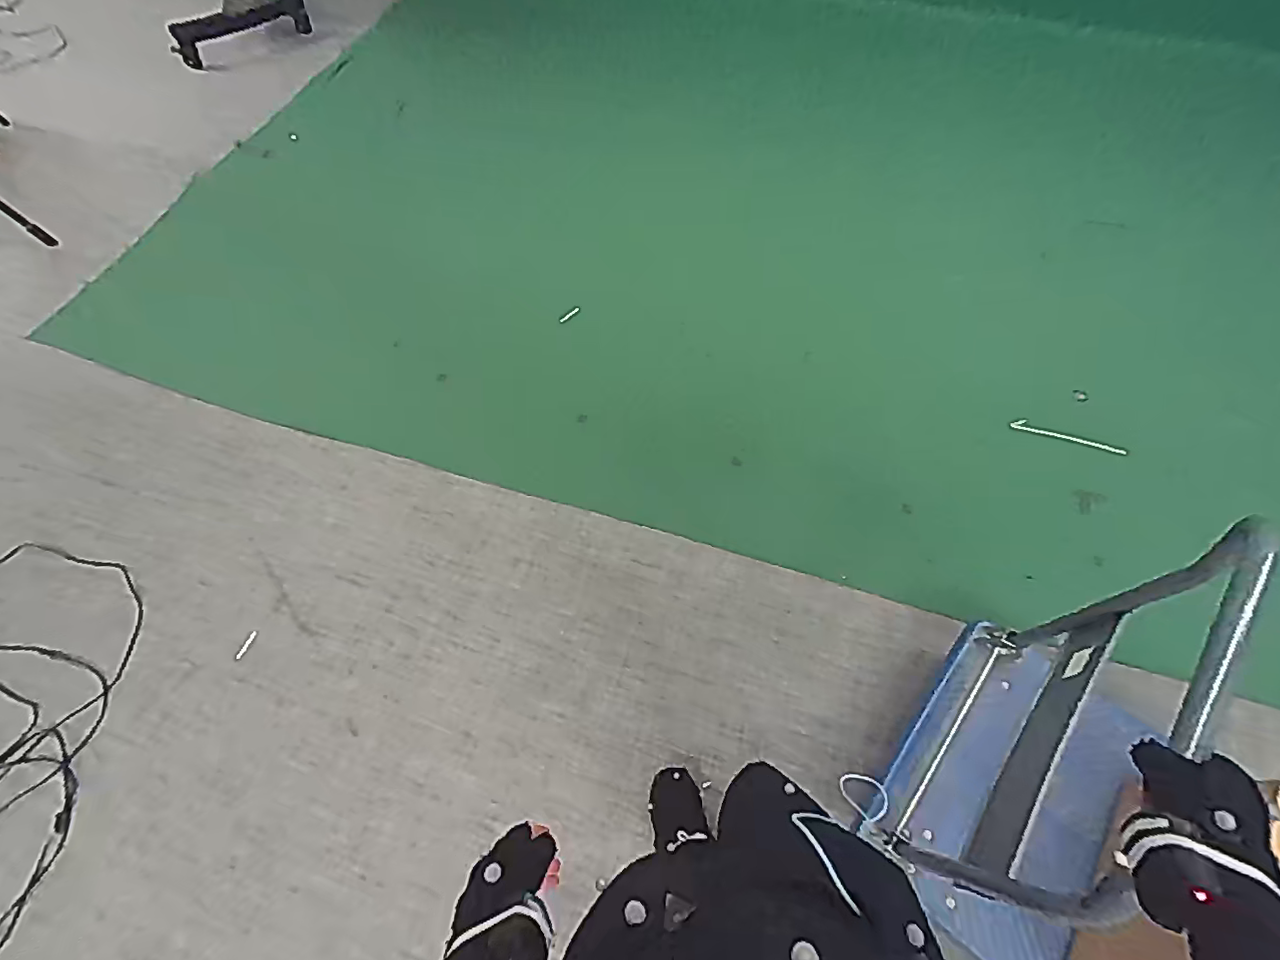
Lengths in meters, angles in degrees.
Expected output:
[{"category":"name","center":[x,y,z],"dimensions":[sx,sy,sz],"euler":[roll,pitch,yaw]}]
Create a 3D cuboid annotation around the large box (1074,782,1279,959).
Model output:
[{"category":"large box","center":[0.954,0.741,0.818],"dimensions":[0.320,0.320,0.408],"euler":[33,67,17]}]
